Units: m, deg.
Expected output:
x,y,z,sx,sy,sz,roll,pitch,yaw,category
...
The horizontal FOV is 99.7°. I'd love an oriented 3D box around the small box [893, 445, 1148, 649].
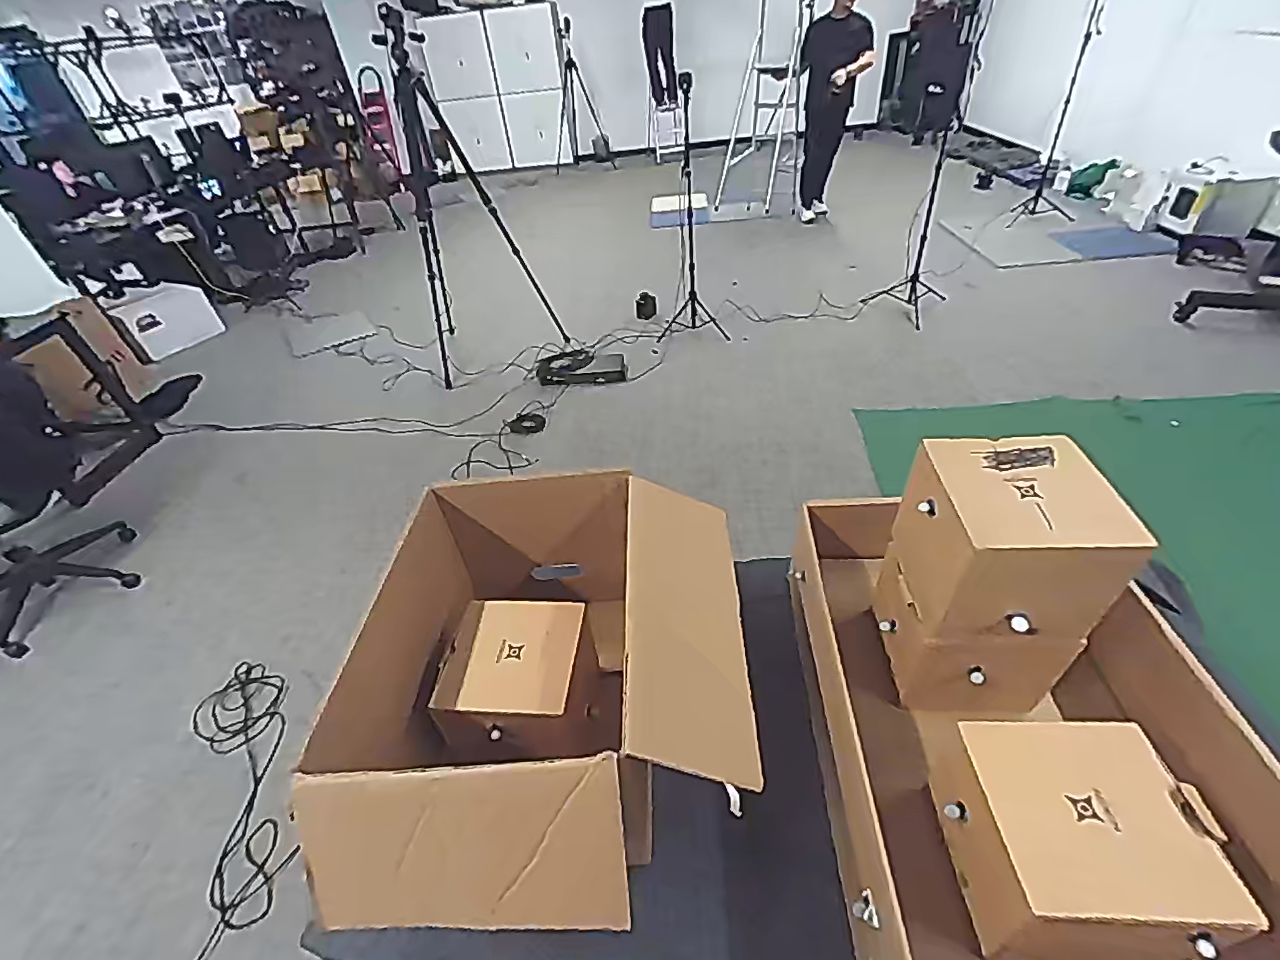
x,y,z,sx,sy,sz,roll,pitch,yaw,category
0.420,0.076,0.642,0.168,0.176,0.179,-1,43,7,small box
